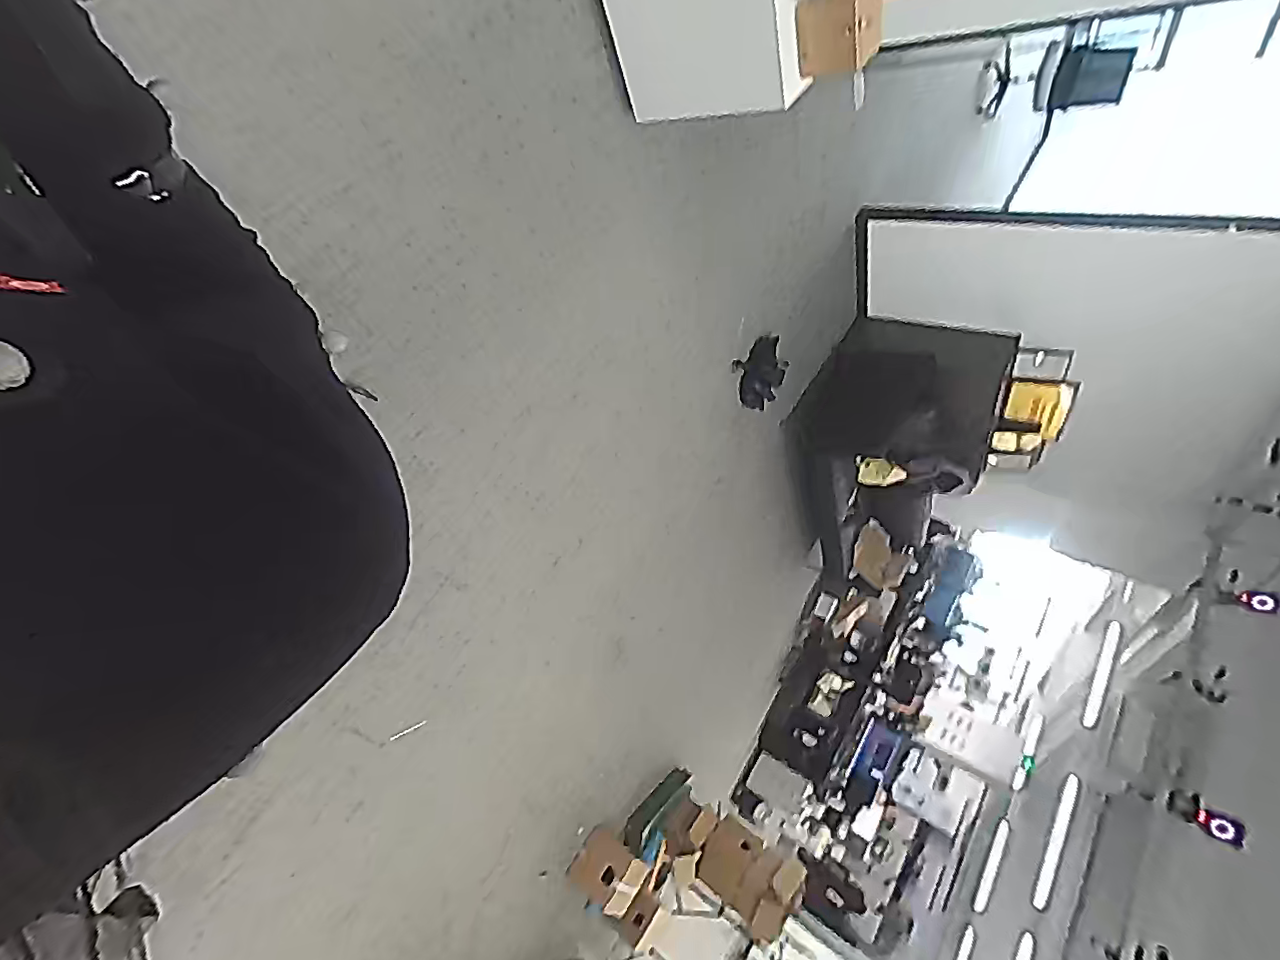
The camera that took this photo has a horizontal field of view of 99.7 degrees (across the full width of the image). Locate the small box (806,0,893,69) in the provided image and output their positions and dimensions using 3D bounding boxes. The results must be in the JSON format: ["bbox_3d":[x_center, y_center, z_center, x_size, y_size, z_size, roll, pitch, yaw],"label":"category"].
[{"bbox_3d":[0.564,-1.247,1.455,0.179,0.176,0.168,-53,142,-21],"label":"small box"}]
